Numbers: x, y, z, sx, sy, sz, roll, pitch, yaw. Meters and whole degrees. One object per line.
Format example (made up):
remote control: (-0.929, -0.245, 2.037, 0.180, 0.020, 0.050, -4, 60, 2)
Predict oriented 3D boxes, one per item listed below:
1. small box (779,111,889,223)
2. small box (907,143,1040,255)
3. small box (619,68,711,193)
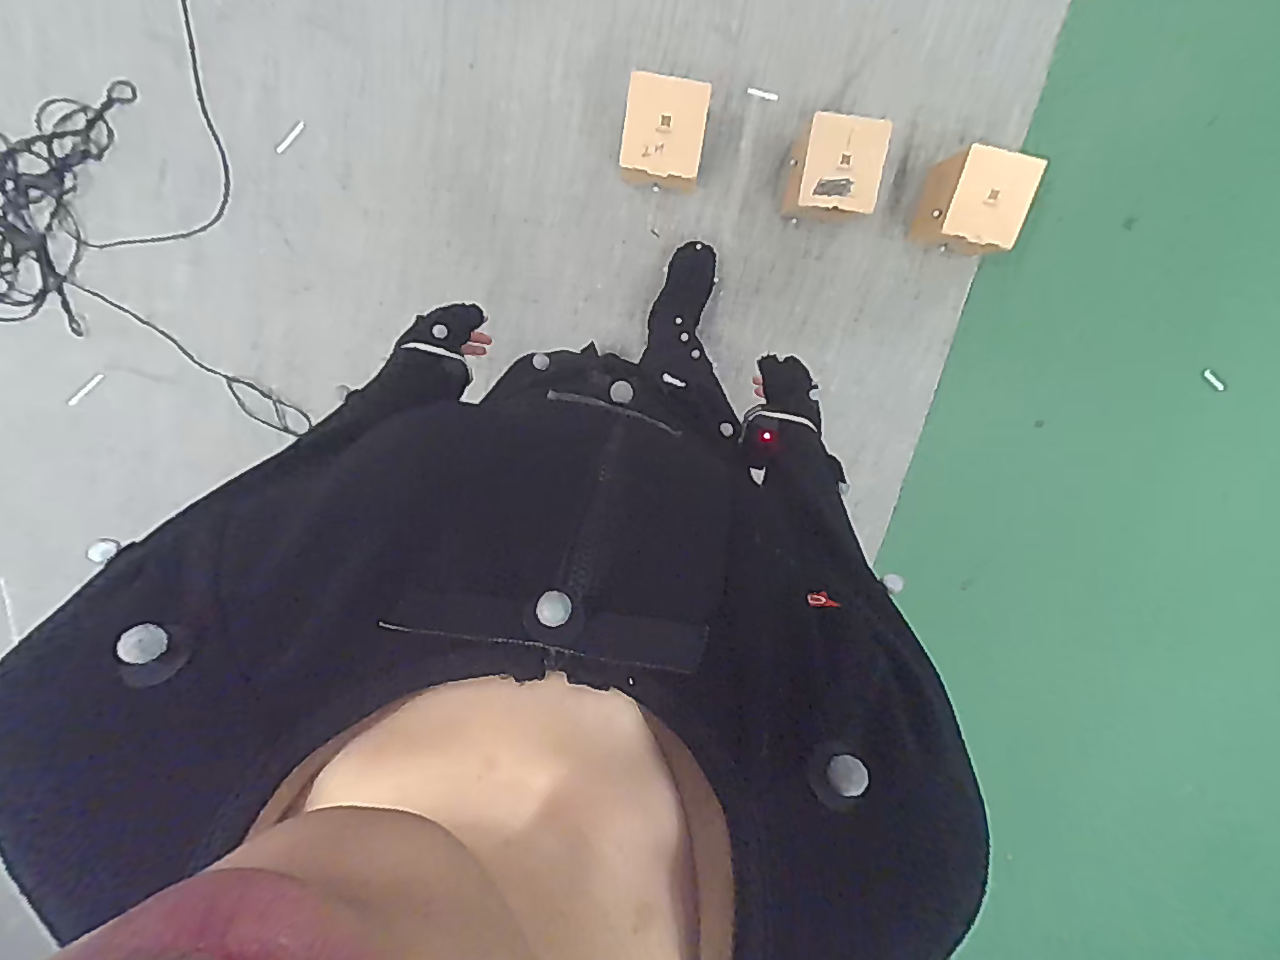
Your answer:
small box: (0.418, -0.681, 1.198, 0.168, 0.176, 0.179, 6, 107, -2)
small box: (0.736, -0.622, 1.218, 0.168, 0.176, 0.179, 12, 108, -3)
small box: (0.049, -0.748, 1.175, 0.168, 0.176, 0.179, 9, 108, -2)
